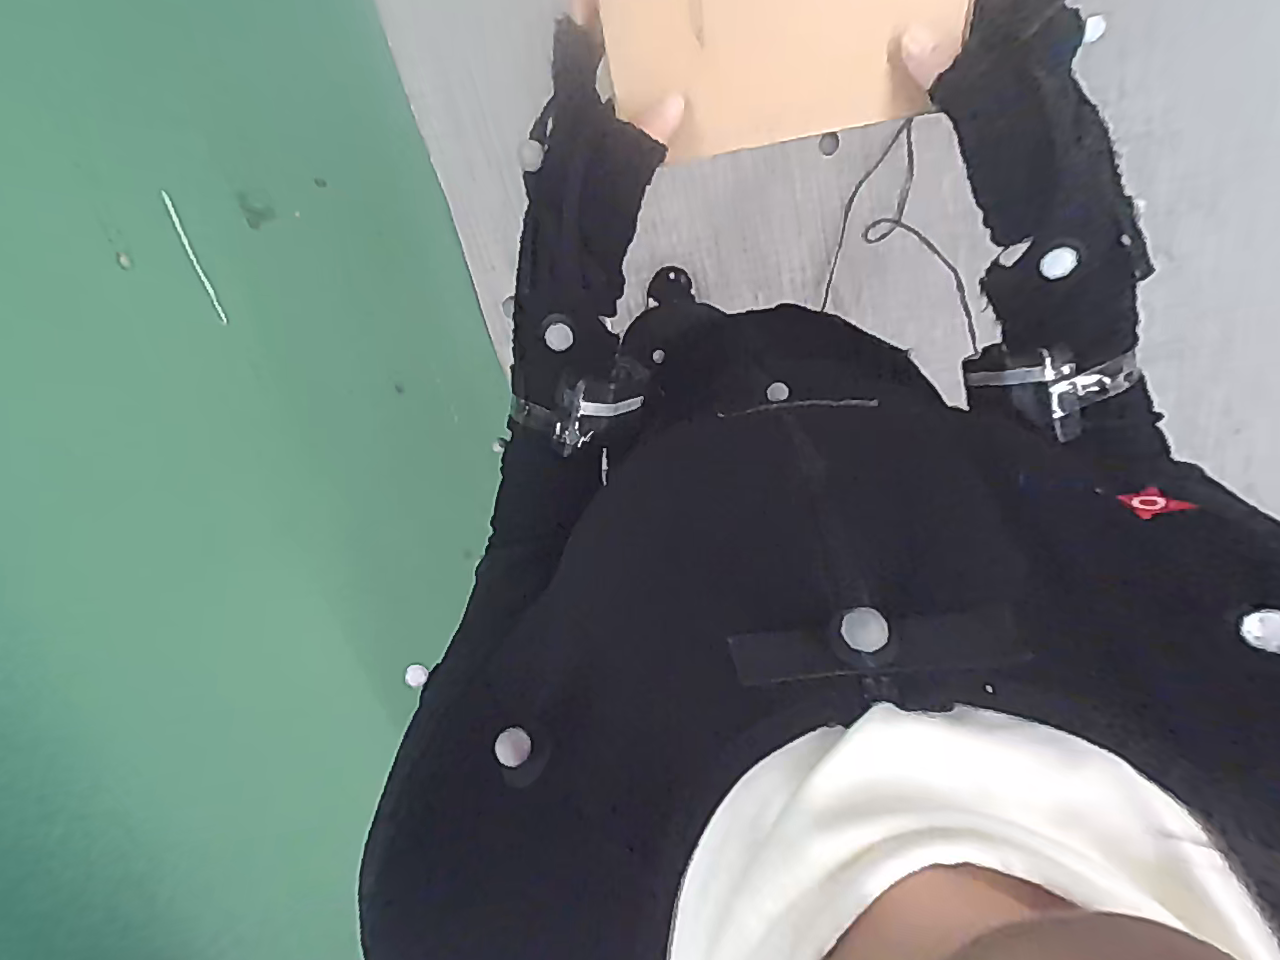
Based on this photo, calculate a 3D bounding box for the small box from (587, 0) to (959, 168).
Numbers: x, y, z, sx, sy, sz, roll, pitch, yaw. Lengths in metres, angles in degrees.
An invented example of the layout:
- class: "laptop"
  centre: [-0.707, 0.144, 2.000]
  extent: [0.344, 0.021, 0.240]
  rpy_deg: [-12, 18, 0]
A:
- class: "small box"
  centre: [0.058, -0.291, 0.307]
  extent: [0.179, 0.176, 0.168]
  rpy_deg: [-9, 121, 6]
